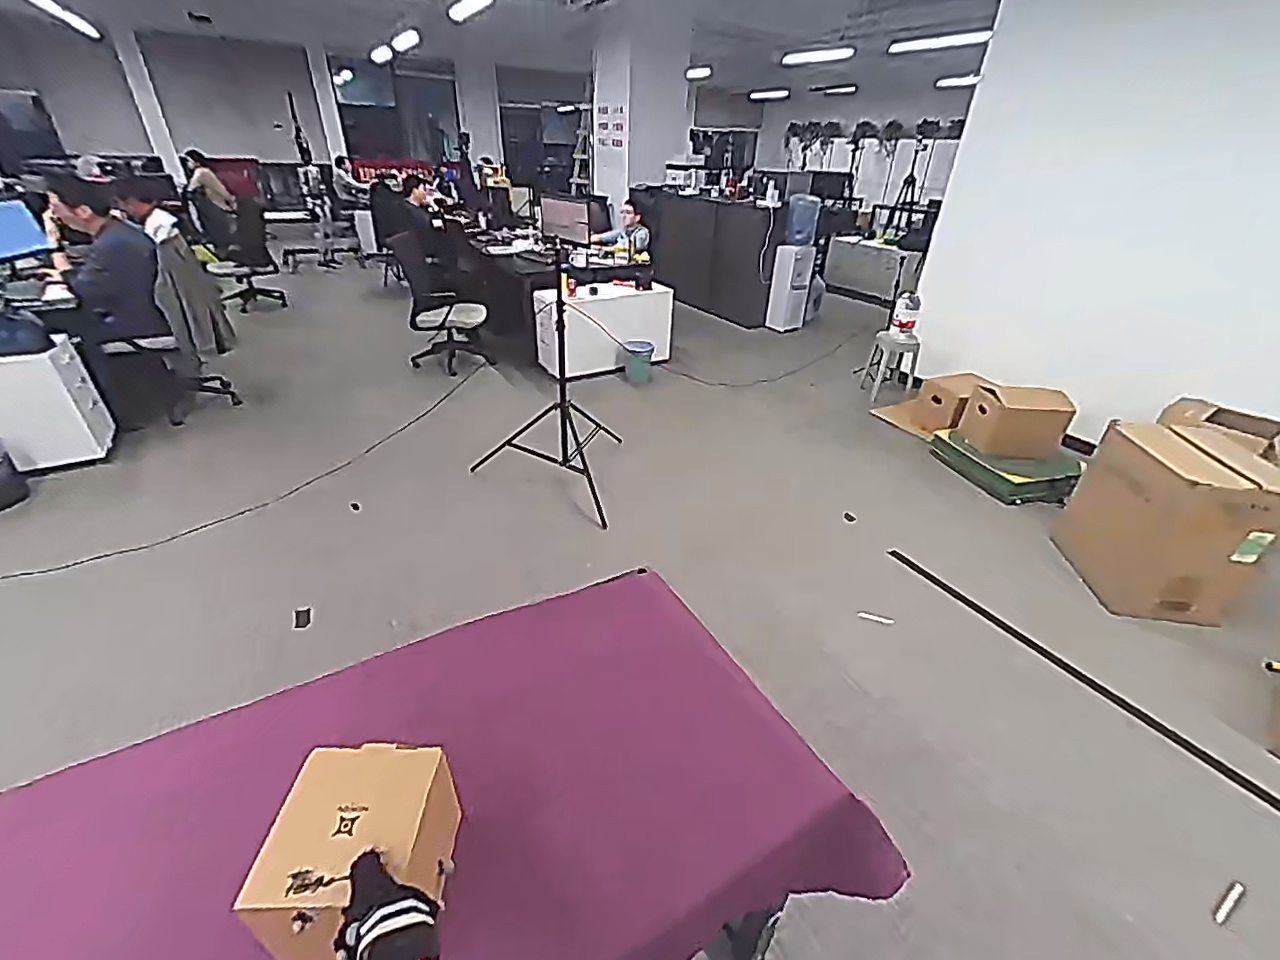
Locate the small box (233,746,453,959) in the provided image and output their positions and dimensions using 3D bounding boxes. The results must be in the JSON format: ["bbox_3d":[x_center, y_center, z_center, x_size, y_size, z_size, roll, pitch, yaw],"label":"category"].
[{"bbox_3d":[-0.336,0.455,0.657,0.168,0.176,0.179,1,31,-2],"label":"small box"}]
